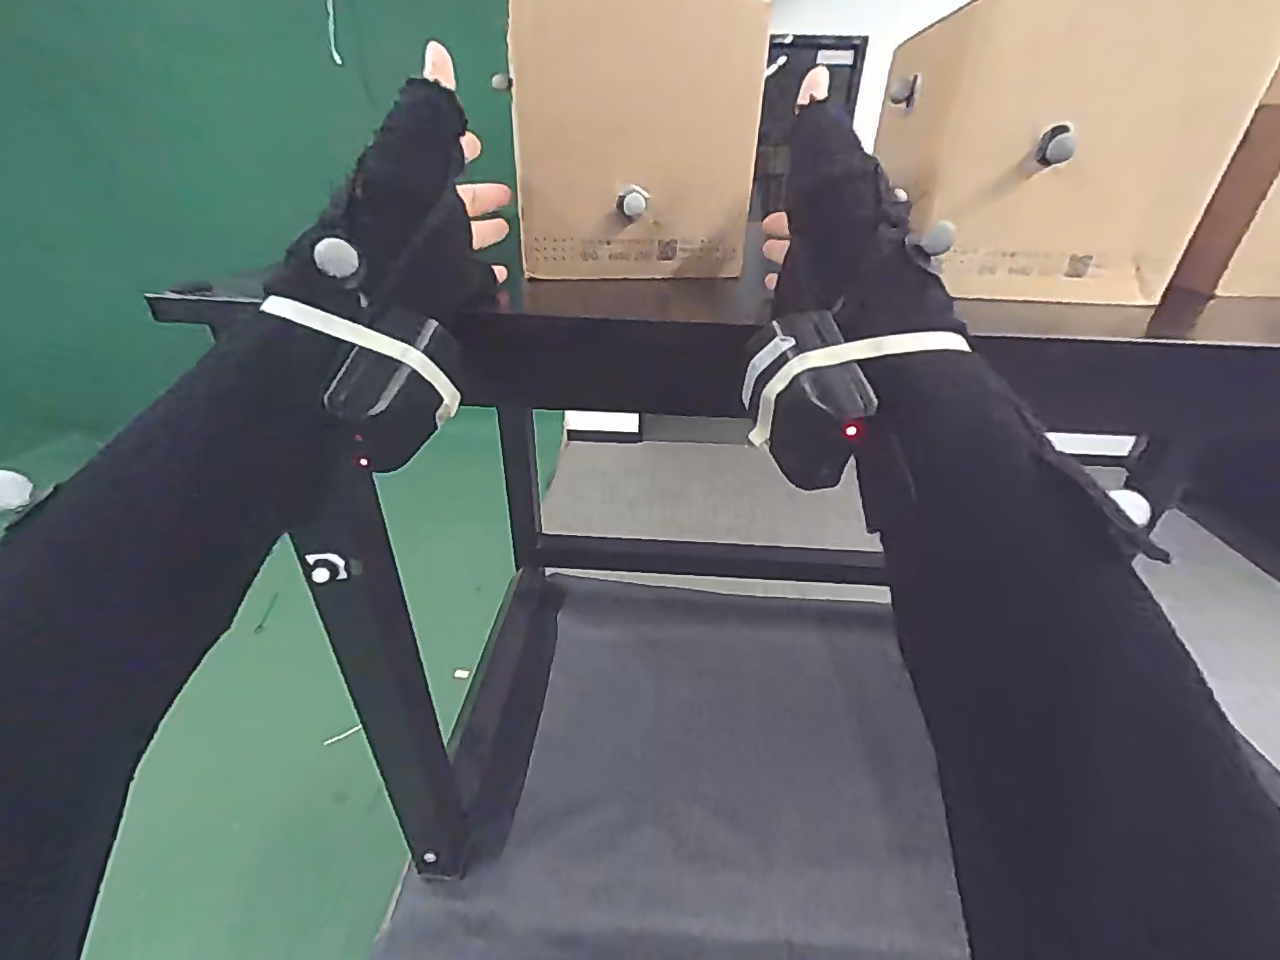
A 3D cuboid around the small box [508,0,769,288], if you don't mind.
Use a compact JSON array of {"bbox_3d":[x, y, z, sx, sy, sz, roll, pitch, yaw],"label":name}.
[{"bbox_3d":[-0.016,-0.261,0.438,0.168,0.176,0.179,-5,32,-11],"label":"small box"}]
